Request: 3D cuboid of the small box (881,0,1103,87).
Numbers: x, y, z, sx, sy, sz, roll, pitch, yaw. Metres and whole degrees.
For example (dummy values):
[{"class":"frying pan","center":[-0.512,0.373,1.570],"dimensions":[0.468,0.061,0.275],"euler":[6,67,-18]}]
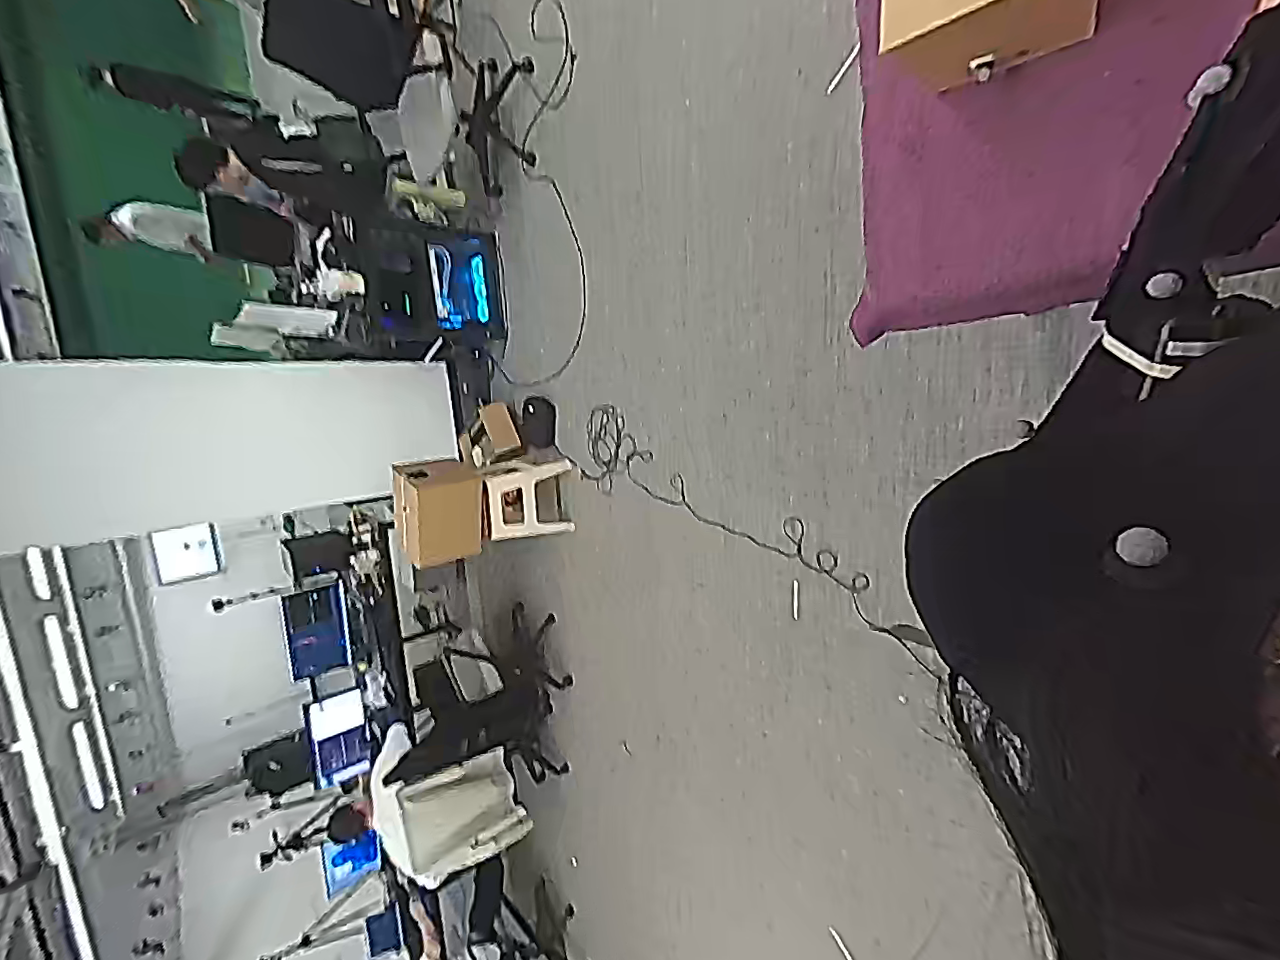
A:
[{"class":"small box","center":[0.380,-0.568,0.576],"dimensions":[0.168,0.176,0.179],"euler":[10,108,49]}]
